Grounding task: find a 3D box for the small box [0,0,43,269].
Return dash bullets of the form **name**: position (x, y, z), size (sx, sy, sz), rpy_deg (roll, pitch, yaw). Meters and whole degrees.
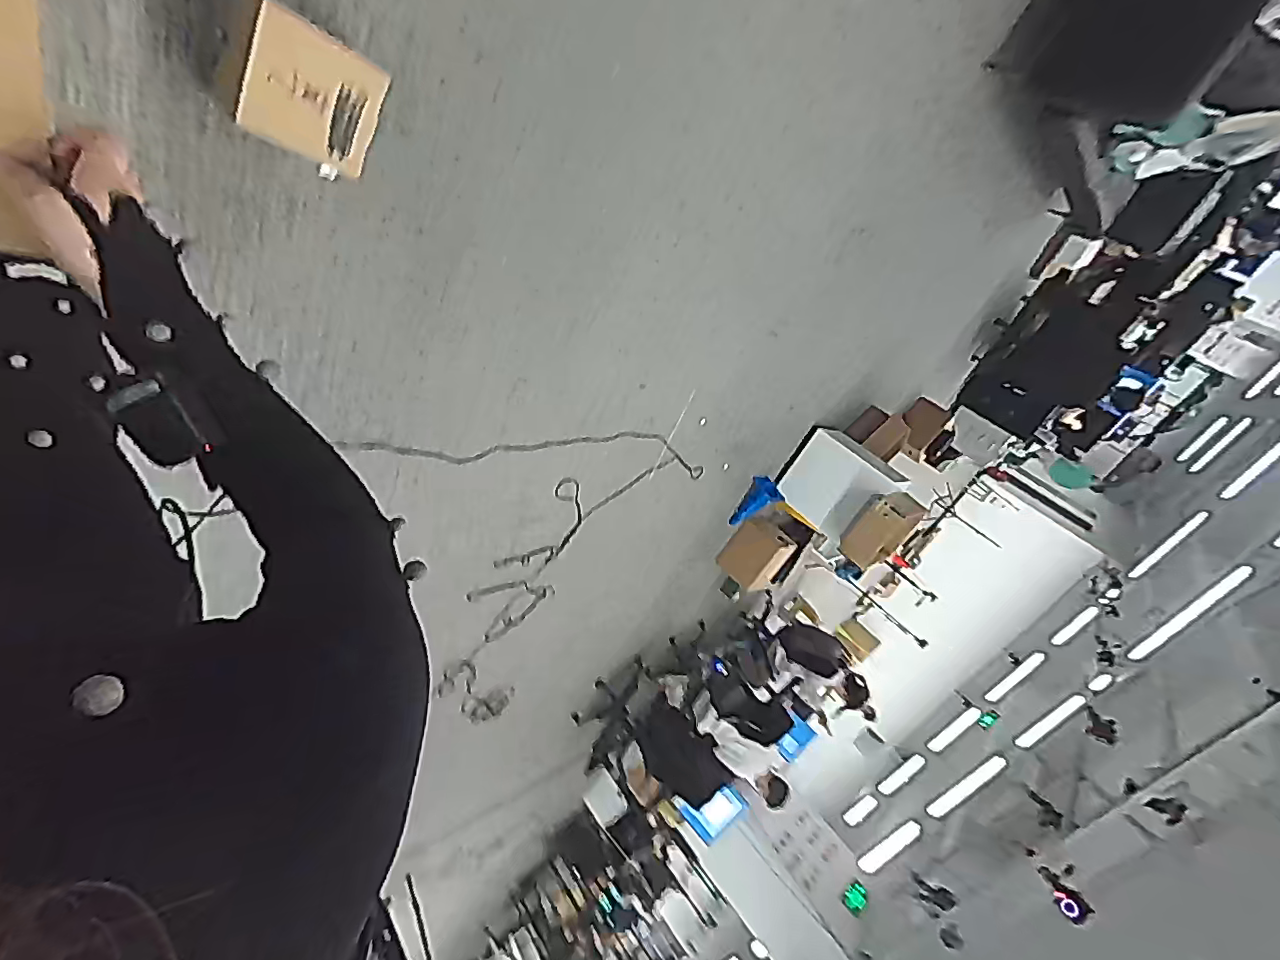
- **small box**: position (-0.505, -0.257, 0.343), size (0.168, 0.176, 0.179), rpy_deg (-5, 119, -48)
